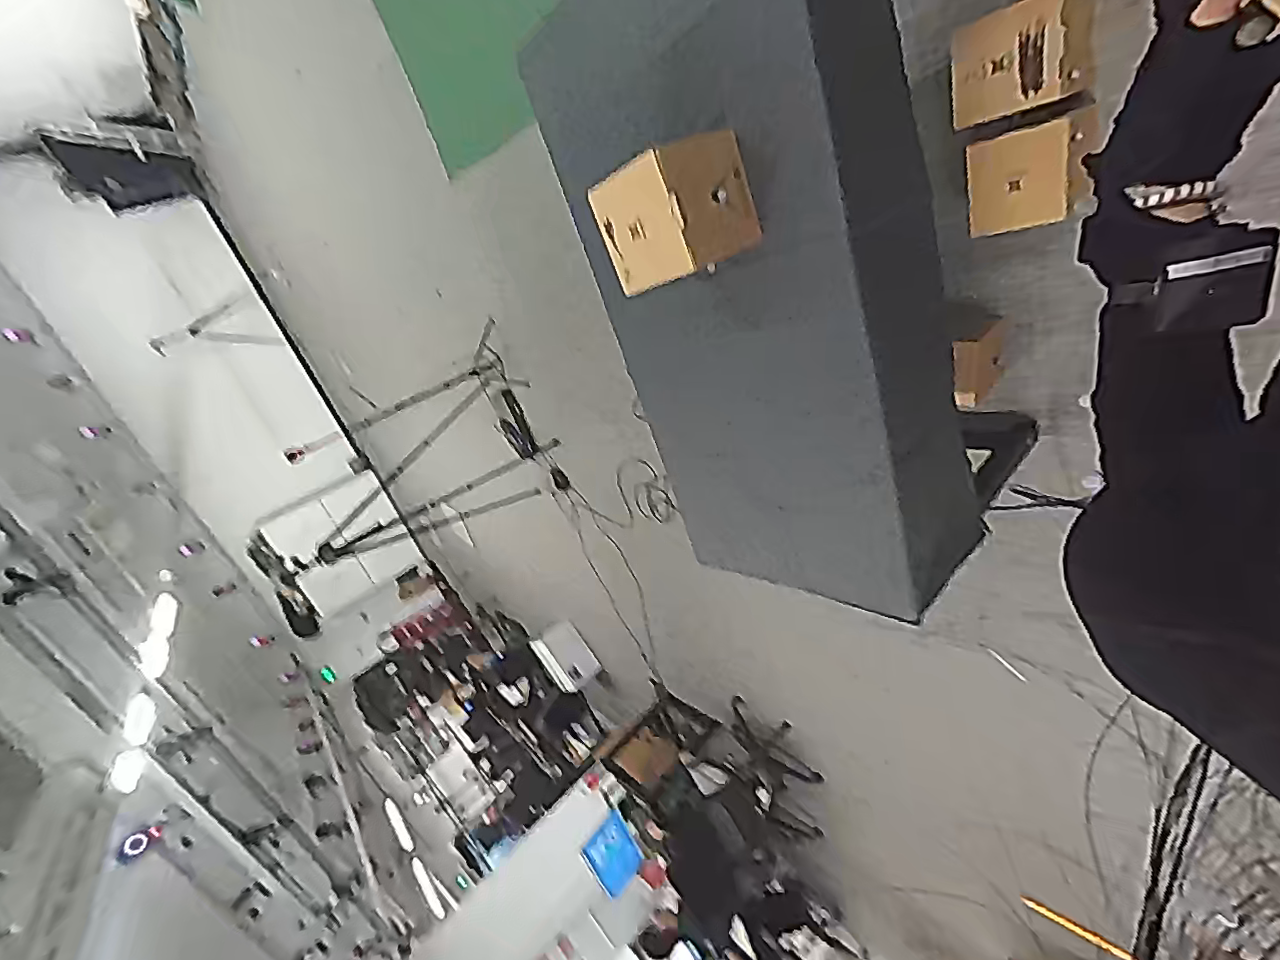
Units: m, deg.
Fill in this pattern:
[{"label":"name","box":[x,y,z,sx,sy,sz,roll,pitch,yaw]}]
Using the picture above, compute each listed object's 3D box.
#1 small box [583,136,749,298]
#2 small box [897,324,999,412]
[{"label":"small box","box":[0.049,-0.407,0.844,0.179,0.176,0.168,5,123,52]},{"label":"small box","box":[0.777,-0.289,1.371,0.179,0.176,0.168,18,133,46]}]
